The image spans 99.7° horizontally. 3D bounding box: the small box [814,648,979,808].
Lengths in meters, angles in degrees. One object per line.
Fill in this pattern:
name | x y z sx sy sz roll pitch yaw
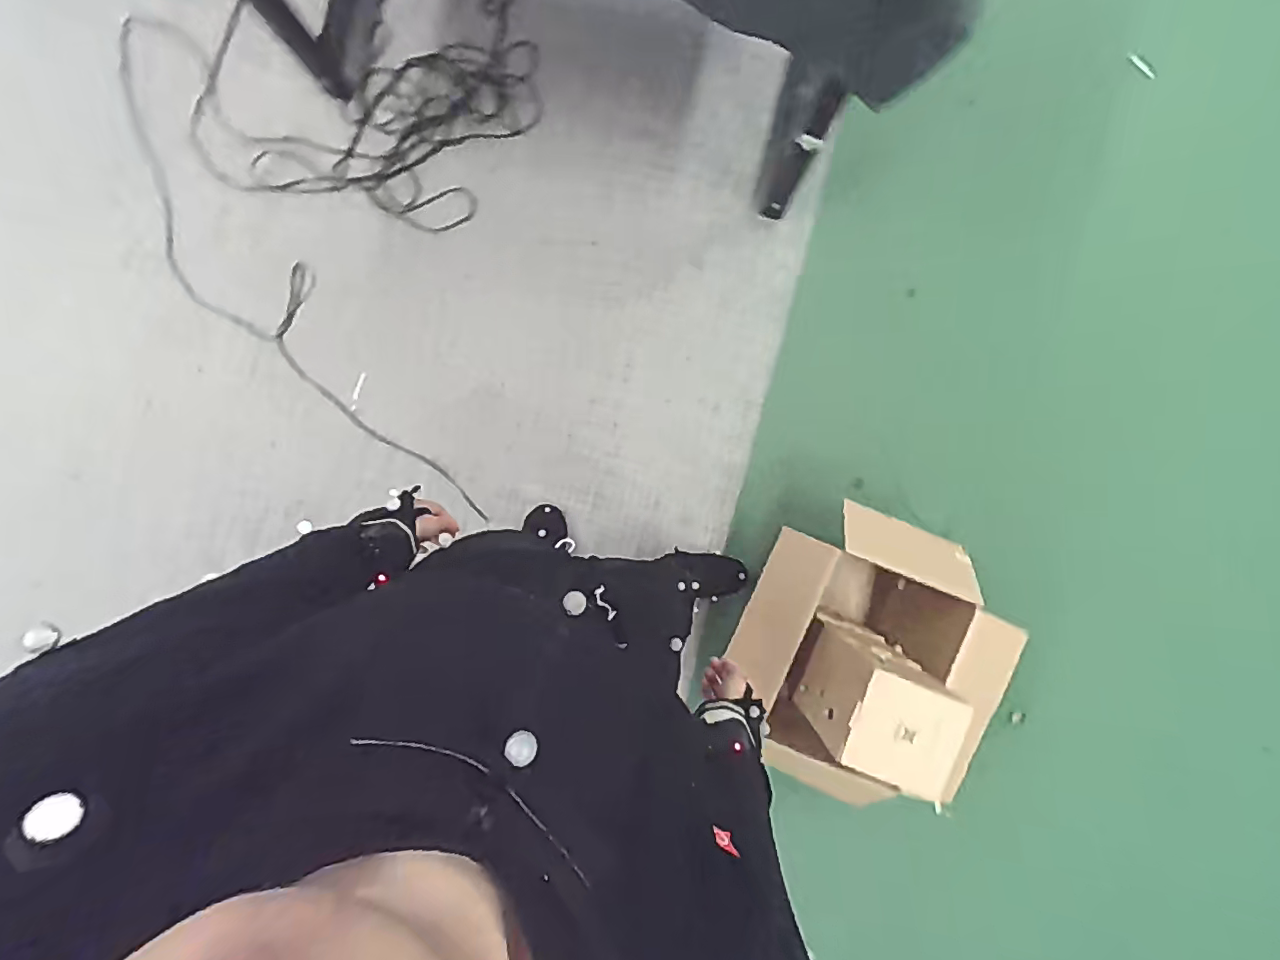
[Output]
small box | 0.424 0.409 0.929 0.179 0.176 0.168 22 91 0
